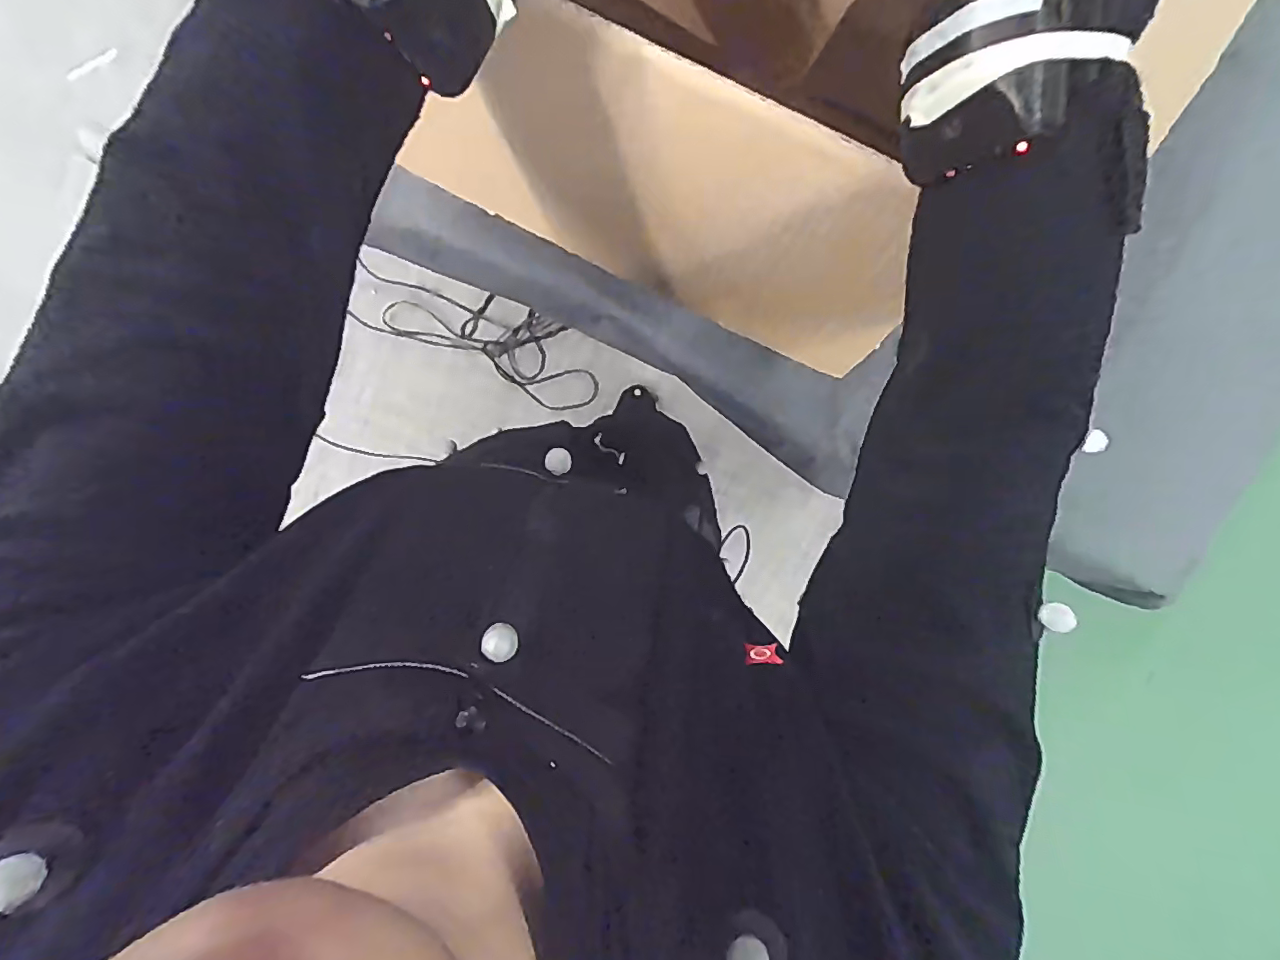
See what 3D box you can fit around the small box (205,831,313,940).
[{"bbox_3d":[-1.122,1.188,1.601,0.179,0.176,0.168,26,102,-2],"label":"small box"}]
